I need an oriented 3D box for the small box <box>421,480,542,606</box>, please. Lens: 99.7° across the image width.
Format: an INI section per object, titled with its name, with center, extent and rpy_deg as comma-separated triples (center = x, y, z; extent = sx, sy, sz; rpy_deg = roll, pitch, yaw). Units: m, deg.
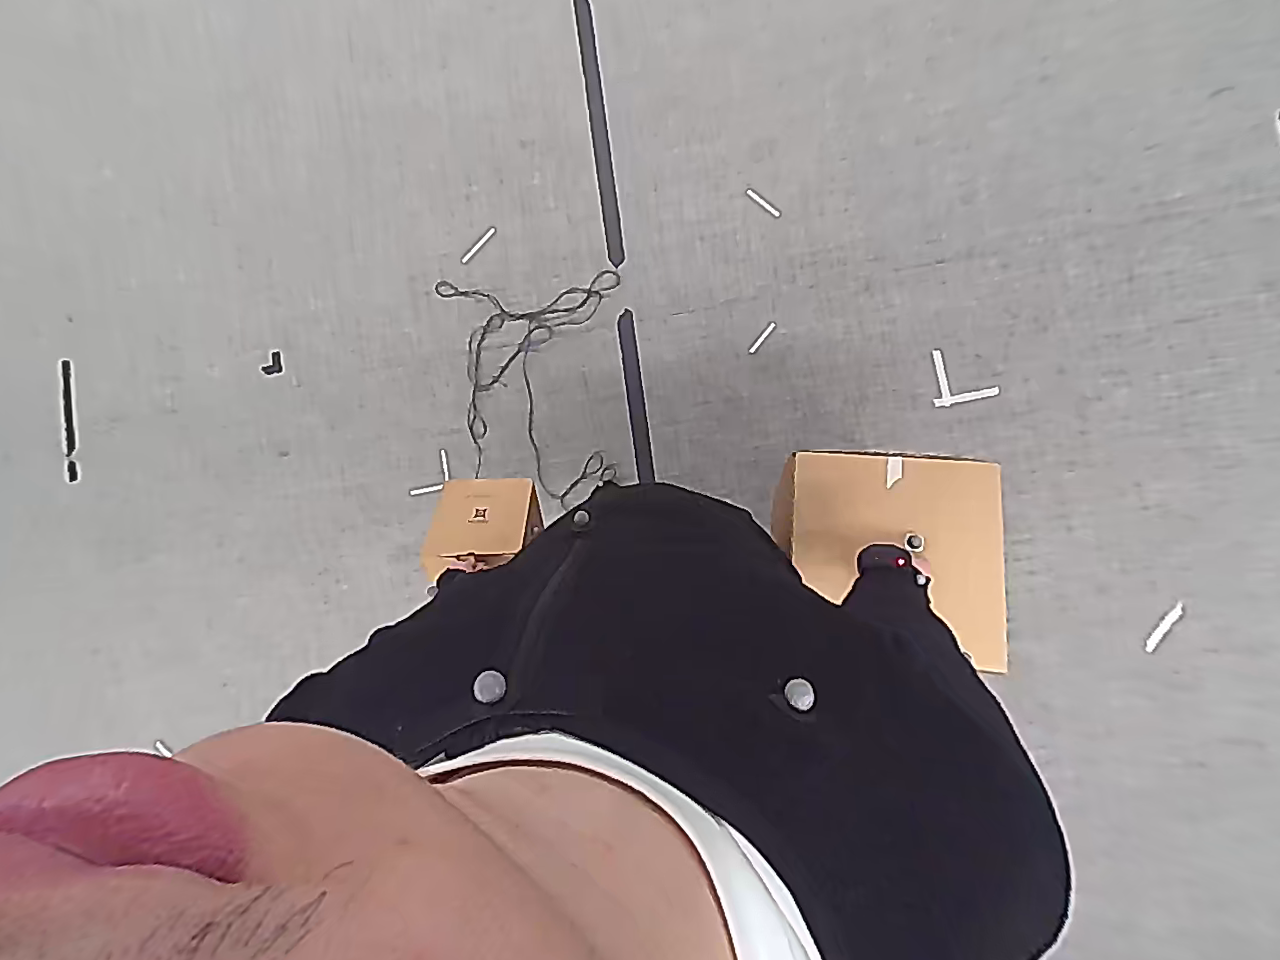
[small box]
center = -0.277, 0.119, 0.993
extent = 0.168, 0.176, 0.179
rpy_deg = 0, 46, -1
